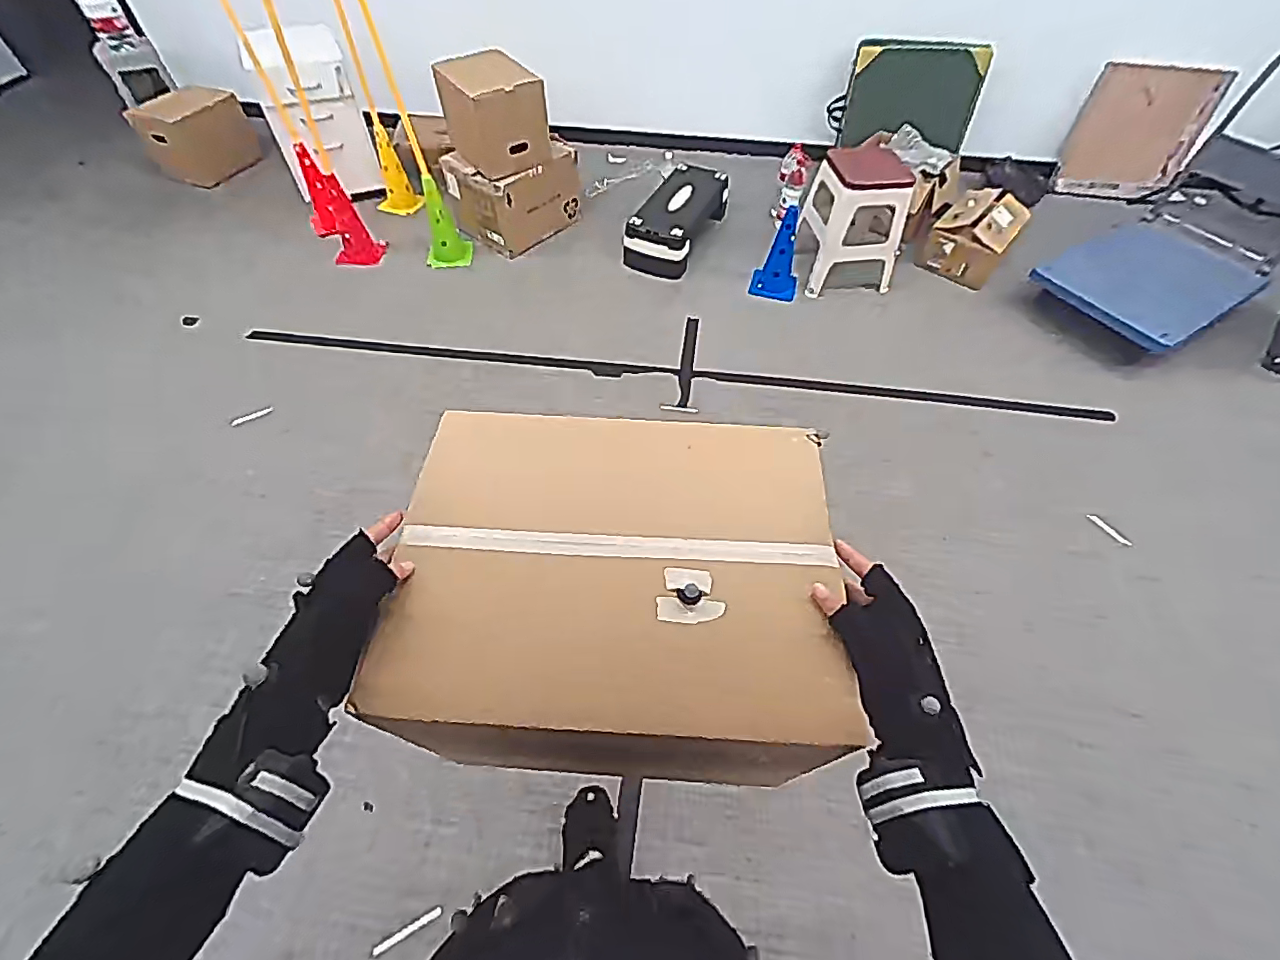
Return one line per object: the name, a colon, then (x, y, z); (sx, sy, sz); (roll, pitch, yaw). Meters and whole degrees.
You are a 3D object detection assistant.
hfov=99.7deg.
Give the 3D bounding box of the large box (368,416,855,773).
large box: (-0.022, 0.148, 0.639); (0.408, 0.320, 0.320); (4, 57, 1)
